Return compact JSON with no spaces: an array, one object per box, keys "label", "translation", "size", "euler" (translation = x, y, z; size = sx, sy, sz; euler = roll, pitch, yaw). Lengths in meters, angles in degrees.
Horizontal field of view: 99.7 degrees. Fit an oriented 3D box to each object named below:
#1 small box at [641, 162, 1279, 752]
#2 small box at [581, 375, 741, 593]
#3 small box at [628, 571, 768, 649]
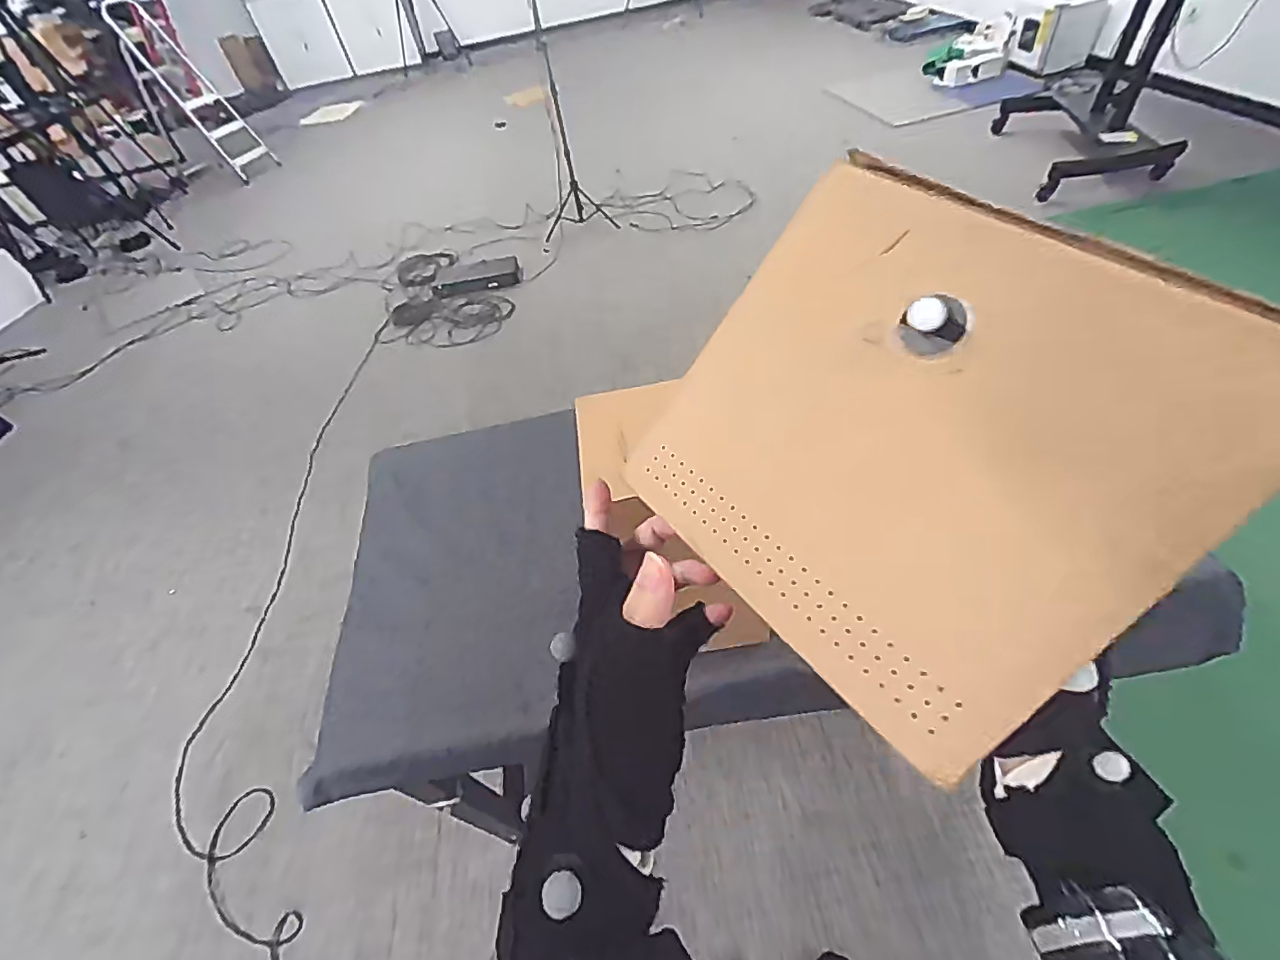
[{"label":"small box","translation":[0.132,-0.009,0.270],"size":[0.179,0.168,0.176],"euler":[44,109,30]},{"label":"small box","translation":[0.038,0.006,0.614],"size":[0.179,0.176,0.168],"euler":[-11,46,1]},{"label":"small box","translation":[0.072,0.112,0.733],"size":[0.179,0.176,0.168],"euler":[-10,48,2]}]
